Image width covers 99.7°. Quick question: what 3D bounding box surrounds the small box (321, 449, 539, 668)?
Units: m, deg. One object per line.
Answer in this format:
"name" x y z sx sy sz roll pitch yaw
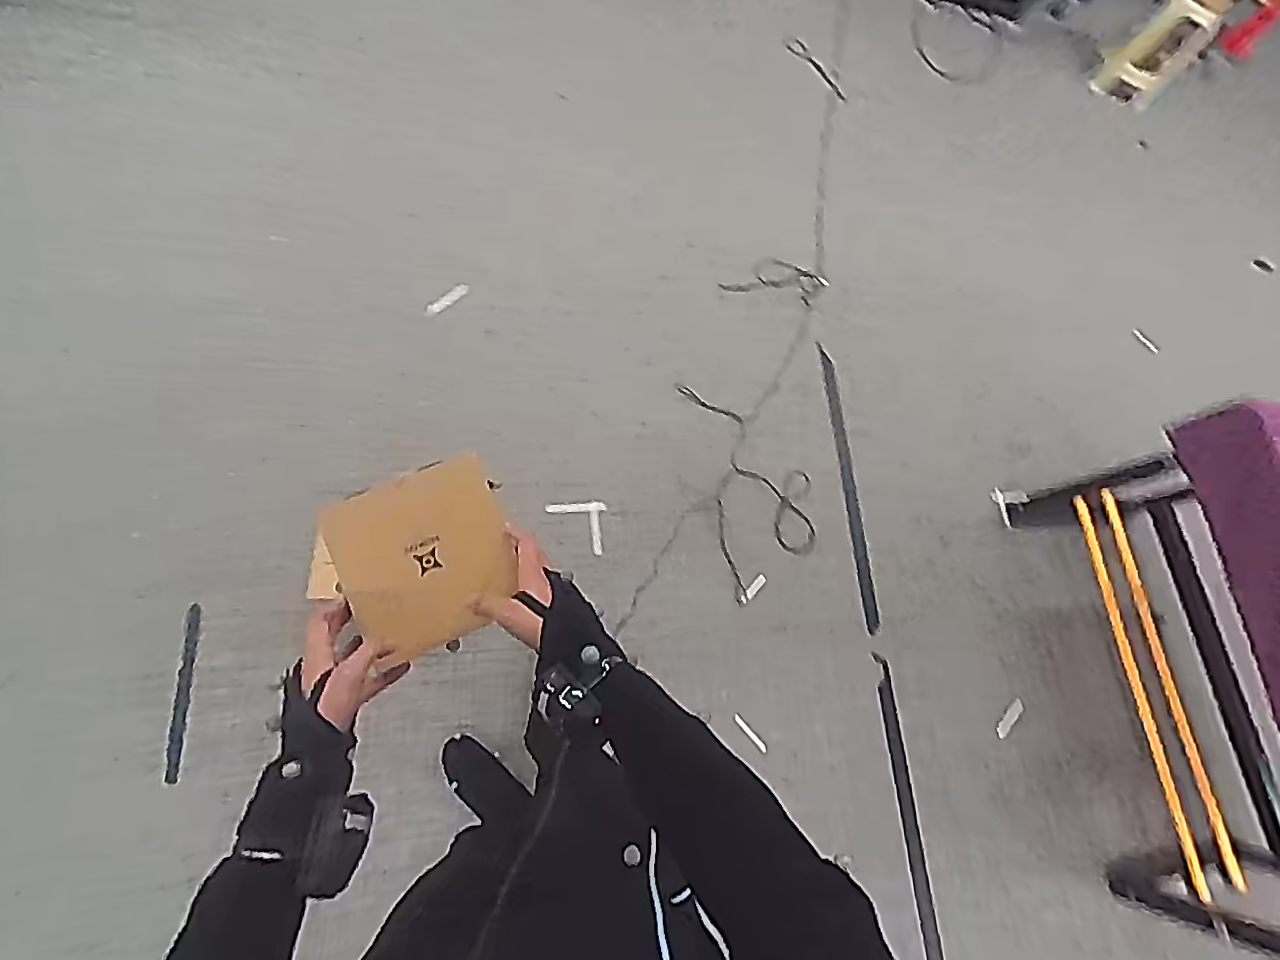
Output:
"small box" -0.220 0.085 0.616 0.168 0.176 0.179 -22 85 -13

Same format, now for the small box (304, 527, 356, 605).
"small box" -0.694 0.219 1.339 0.179 0.176 0.168 3 71 -11
